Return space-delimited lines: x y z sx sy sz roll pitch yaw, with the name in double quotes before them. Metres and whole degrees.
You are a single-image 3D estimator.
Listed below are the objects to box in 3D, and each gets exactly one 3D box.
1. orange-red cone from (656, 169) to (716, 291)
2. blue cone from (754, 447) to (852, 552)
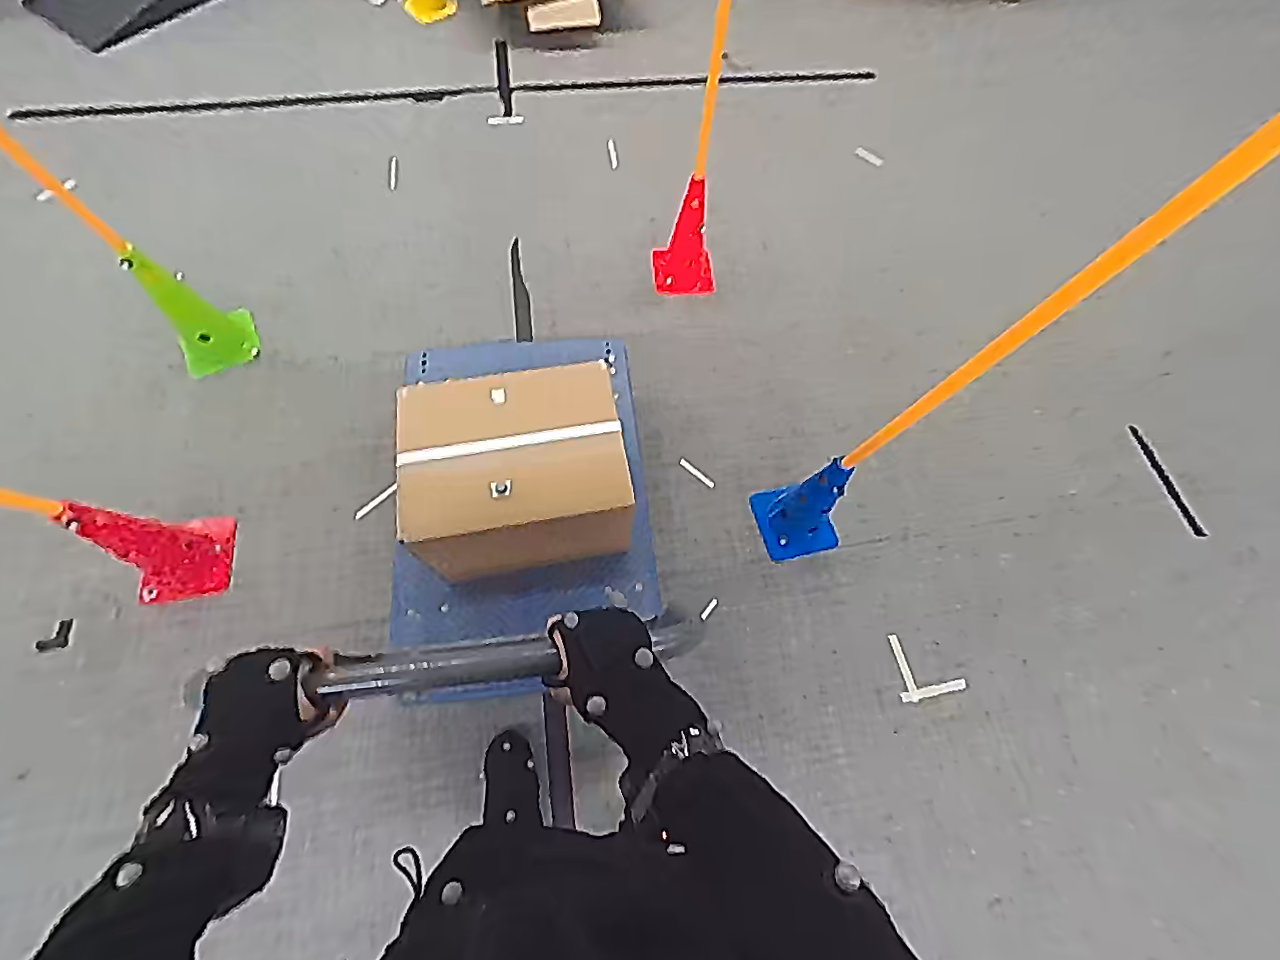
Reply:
"orange-red cone" 0.164 -0.778 1.652 0.199 0.360 0.198 -1 67 -5
"blue cone" 0.433 0.030 1.329 0.193 0.380 0.192 -11 66 -9
